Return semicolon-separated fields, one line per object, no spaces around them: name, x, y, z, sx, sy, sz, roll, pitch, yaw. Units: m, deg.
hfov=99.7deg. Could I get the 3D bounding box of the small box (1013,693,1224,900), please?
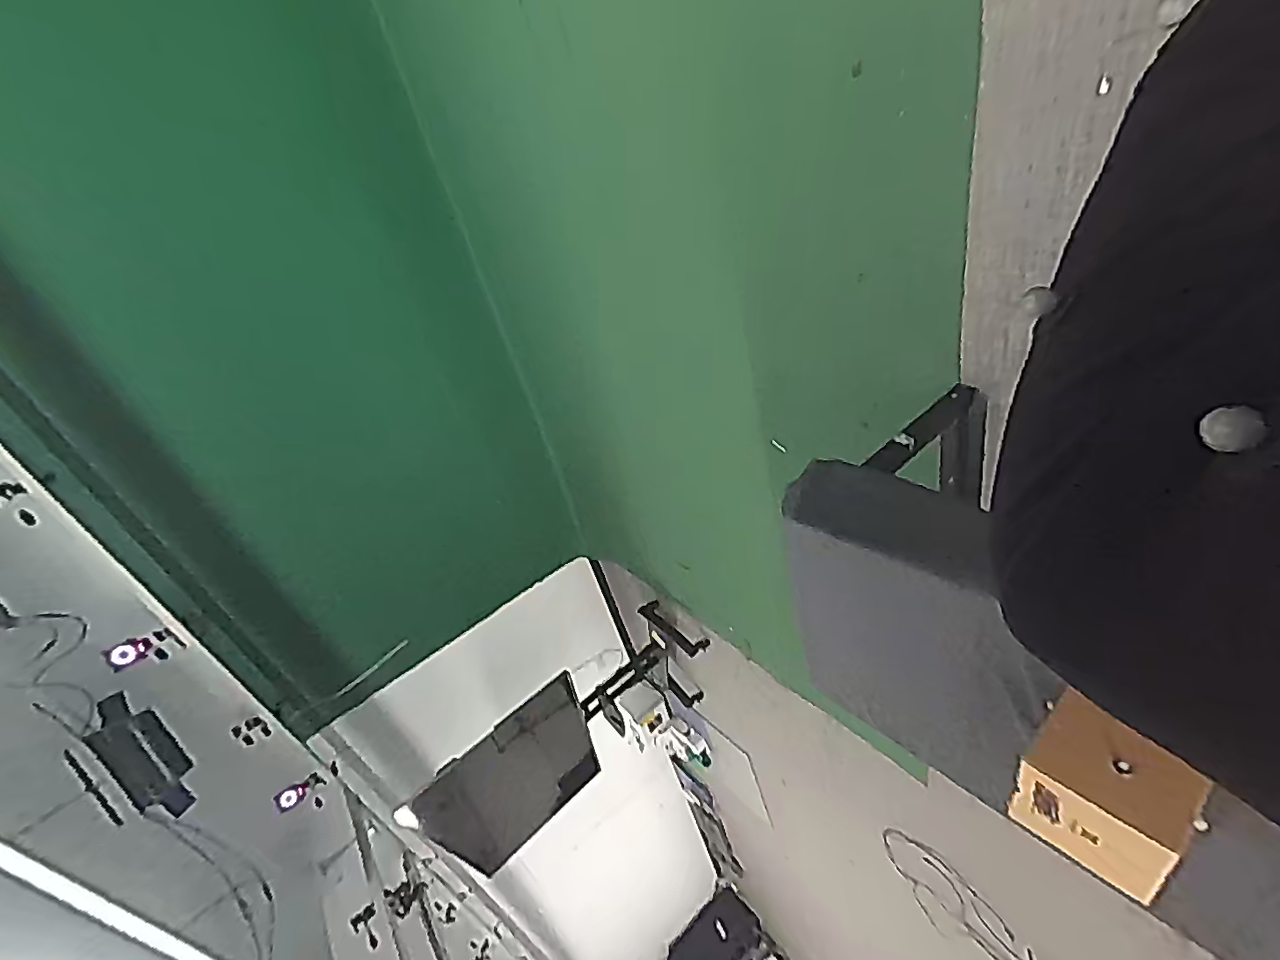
small box;0.693;0.447;0.796;0.179;0.176;0.168;25;142;47
